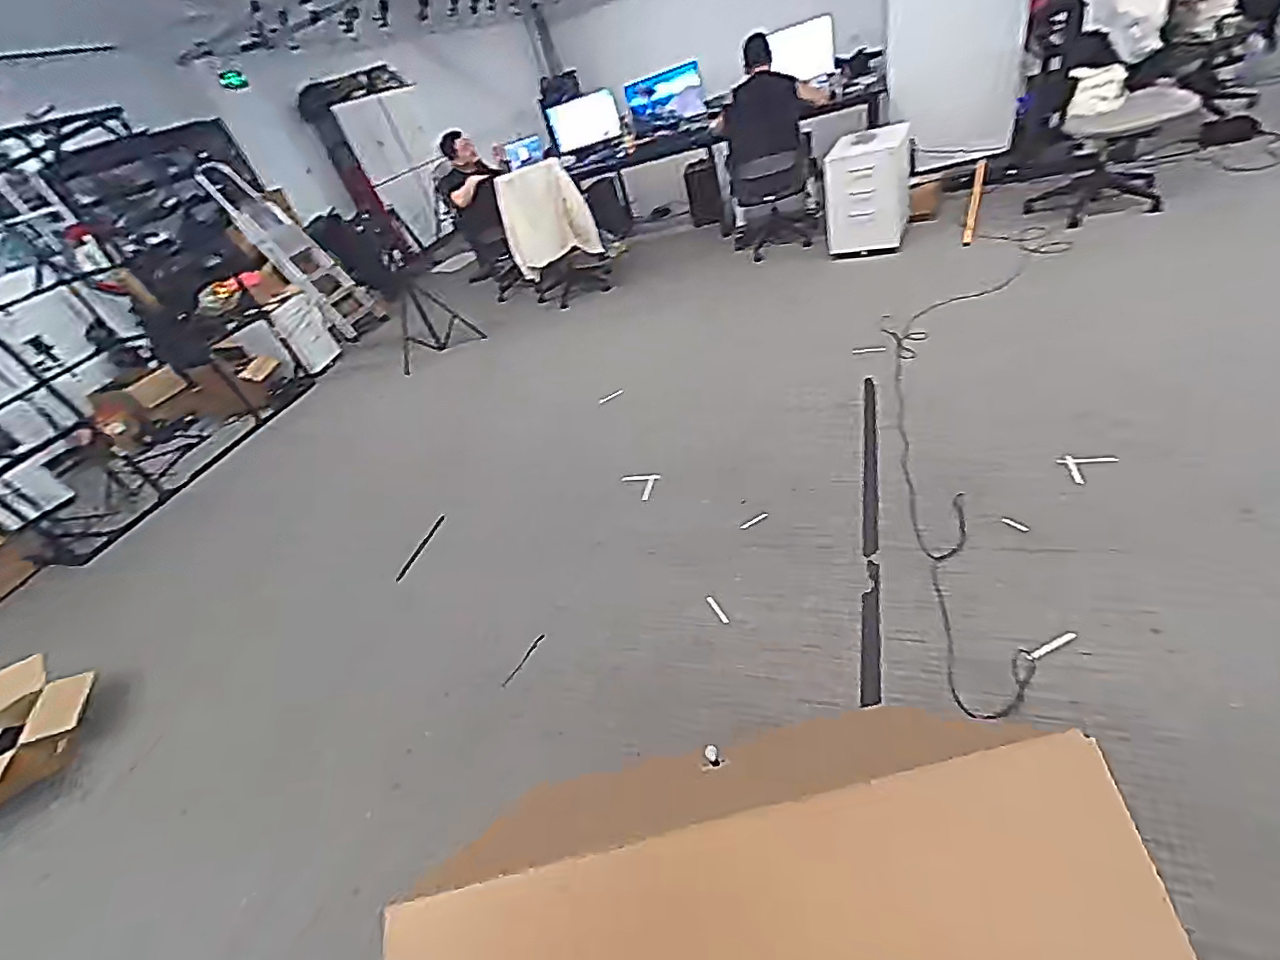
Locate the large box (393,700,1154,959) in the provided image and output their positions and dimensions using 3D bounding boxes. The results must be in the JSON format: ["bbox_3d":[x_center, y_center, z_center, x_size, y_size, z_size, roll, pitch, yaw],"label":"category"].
[{"bbox_3d":[0.098,0.386,0.406,0.408,0.320,0.320,-15,70,-2],"label":"large box"}]
